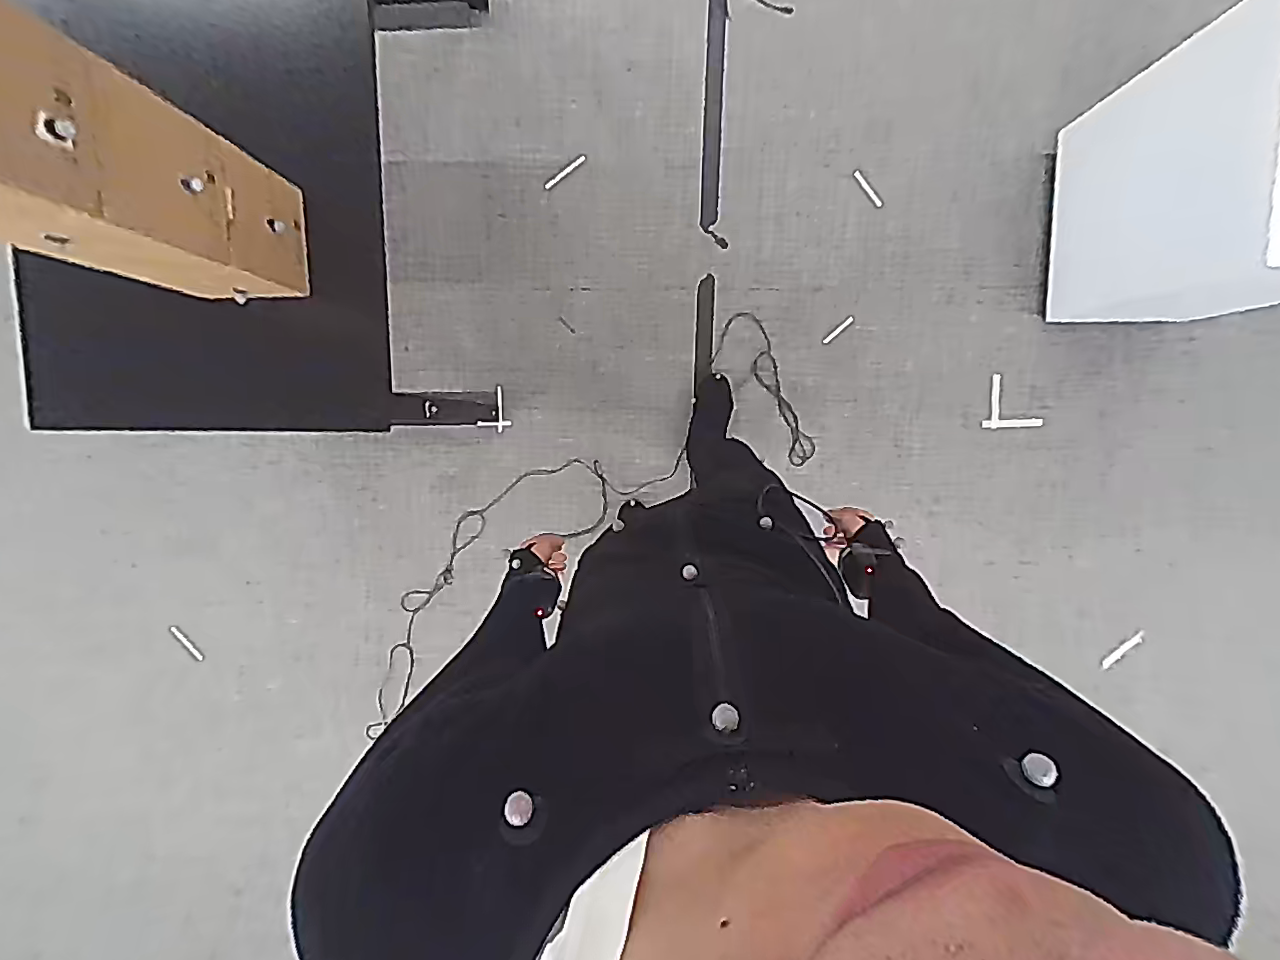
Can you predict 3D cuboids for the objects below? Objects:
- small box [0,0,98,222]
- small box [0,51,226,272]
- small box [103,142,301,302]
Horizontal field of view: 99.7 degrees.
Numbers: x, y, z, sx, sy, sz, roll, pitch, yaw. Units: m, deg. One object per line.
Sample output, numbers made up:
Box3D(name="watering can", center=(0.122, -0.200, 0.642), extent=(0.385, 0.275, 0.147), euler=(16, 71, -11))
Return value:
Box3D(name="small box", center=(-0.628, -0.329, 0.454), extent=(0.179, 0.176, 0.168), euler=(-1, 97, 1))
Box3D(name="small box", center=(-0.625, -0.344, 0.616), extent=(0.179, 0.176, 0.168), euler=(-1, 96, 1))
Box3D(name="small box", center=(-0.620, -0.360, 0.780), extent=(0.179, 0.176, 0.168), euler=(-1, 95, 1))
